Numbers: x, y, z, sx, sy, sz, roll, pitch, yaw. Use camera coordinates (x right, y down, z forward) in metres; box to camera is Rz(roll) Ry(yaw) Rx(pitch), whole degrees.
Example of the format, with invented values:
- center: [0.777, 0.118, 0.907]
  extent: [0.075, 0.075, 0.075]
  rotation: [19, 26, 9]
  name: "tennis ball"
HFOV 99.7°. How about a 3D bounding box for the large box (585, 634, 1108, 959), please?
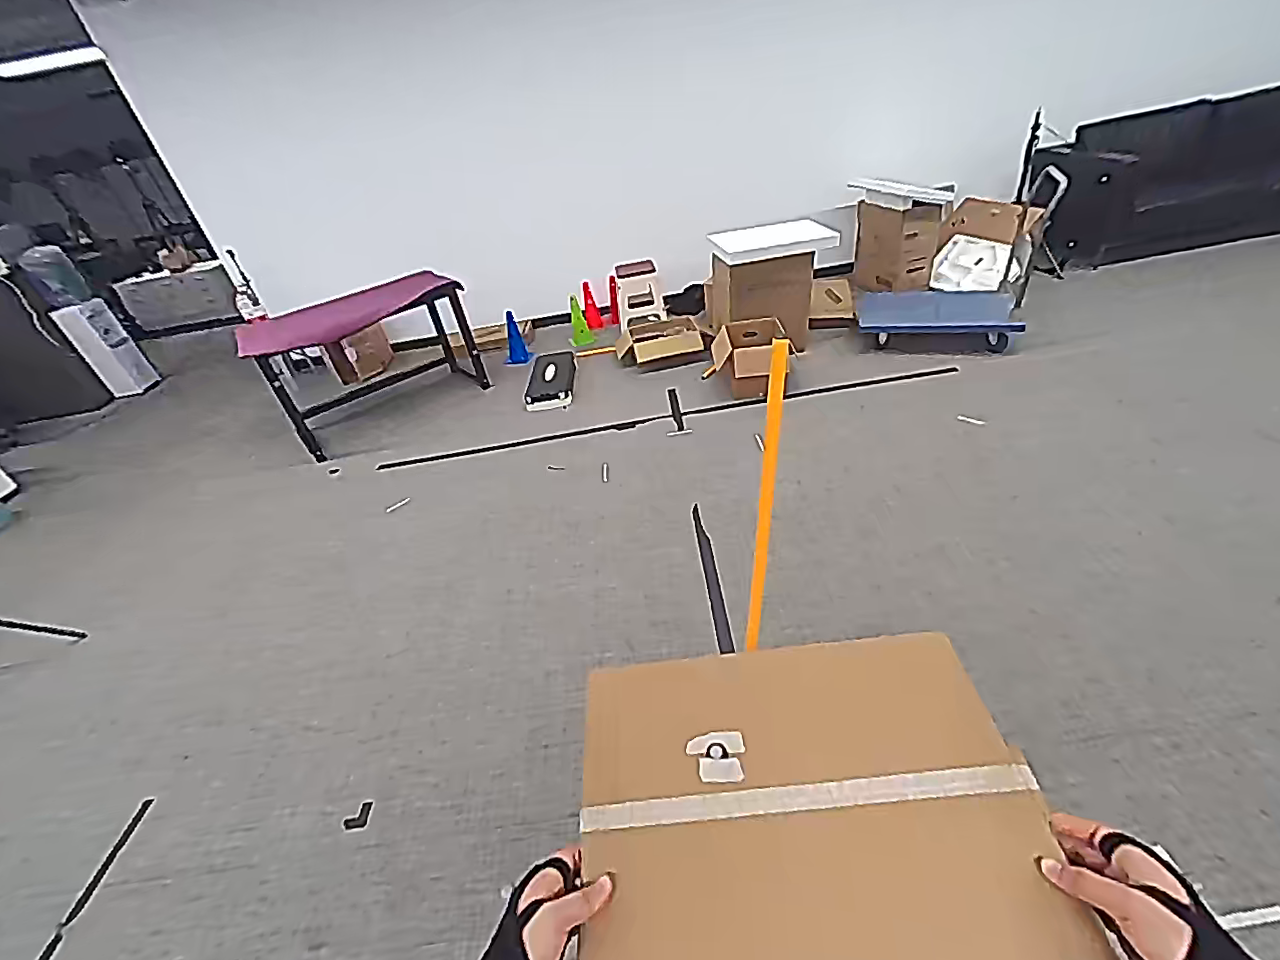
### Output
- center: [0.172, 0.414, 0.604]
  extent: [0.408, 0.320, 0.320]
  rotation: [-9, 39, 5]
  name: "large box"
